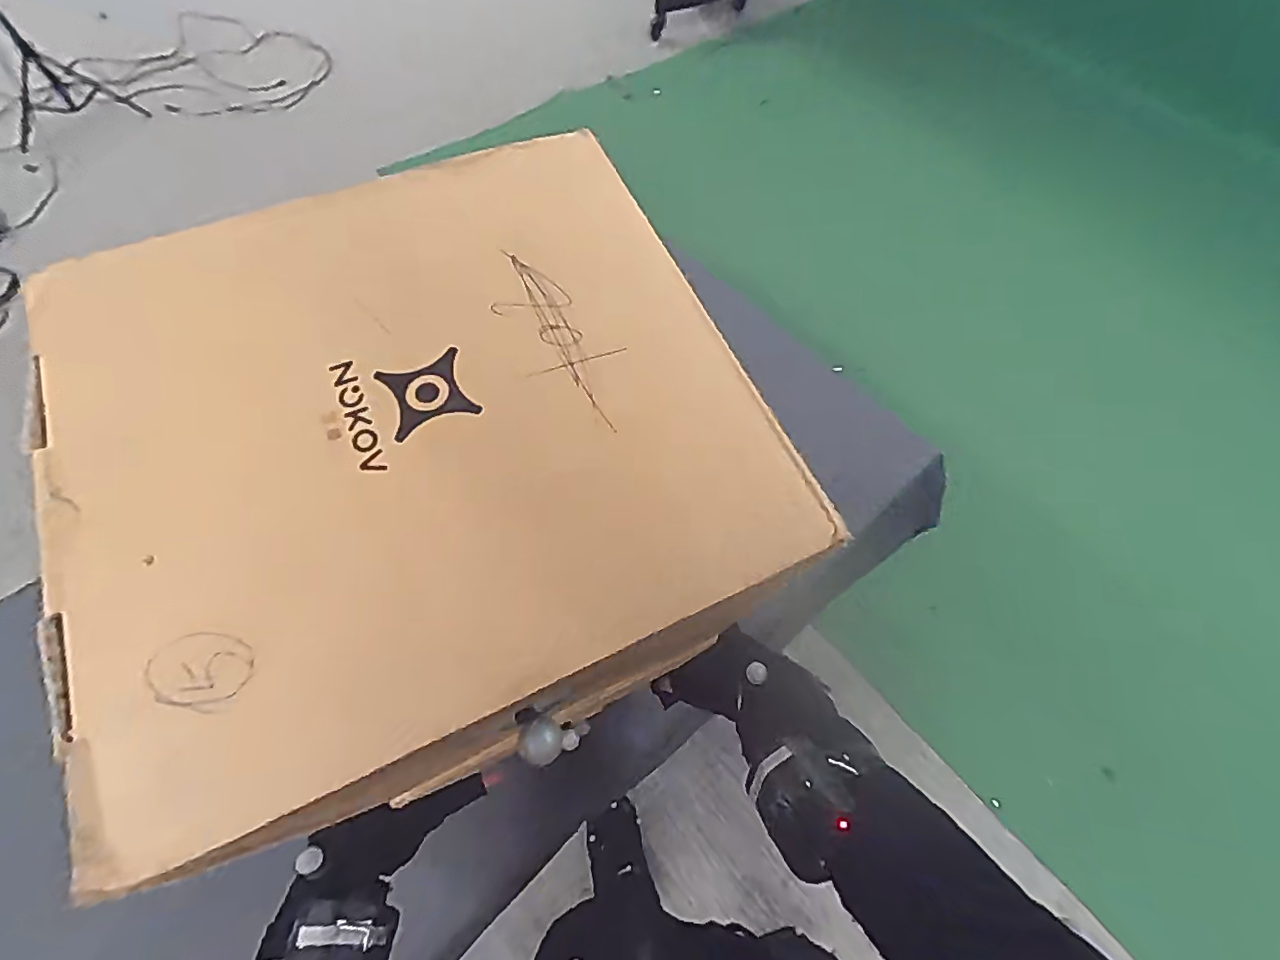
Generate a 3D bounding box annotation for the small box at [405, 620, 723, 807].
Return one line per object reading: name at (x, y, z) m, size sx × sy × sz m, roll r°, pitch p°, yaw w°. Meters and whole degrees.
small box at (-0.073, 0.082, 0.368) m, size 0.179 × 0.176 × 0.168 m, roll -25°, pitch 71°, yaw -14°

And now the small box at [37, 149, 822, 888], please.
small box at (-0.067, 0.013, 0.221) m, size 0.179 × 0.176 × 0.168 m, roll -22°, pitch 71°, yaw -13°
